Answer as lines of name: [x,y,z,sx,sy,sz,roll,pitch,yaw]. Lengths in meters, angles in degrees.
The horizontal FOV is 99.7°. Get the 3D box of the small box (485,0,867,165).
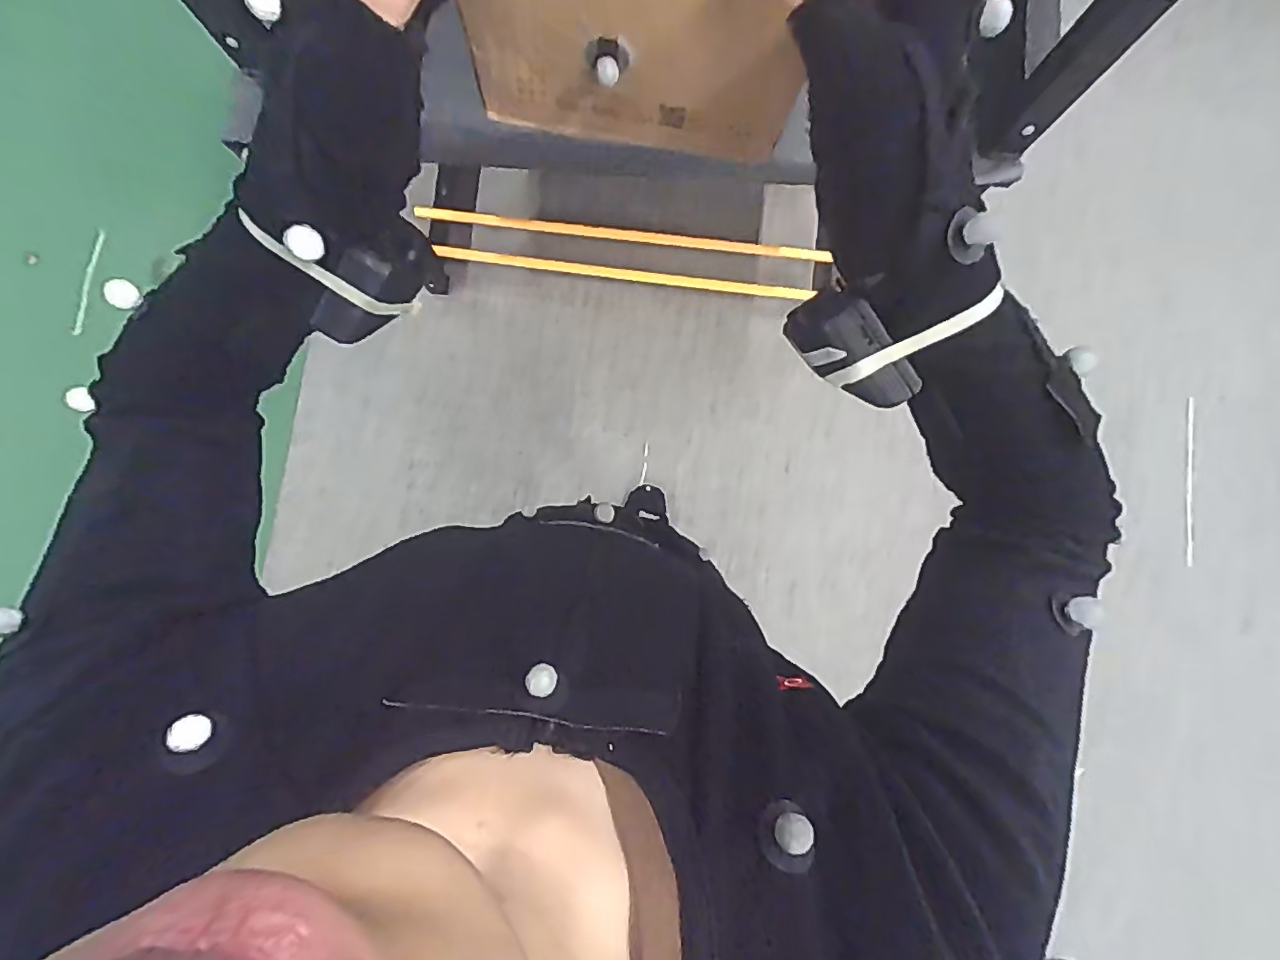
small box: [0.017,-0.283,0.238,0.168,0.176,0.179,6,87,-4]
